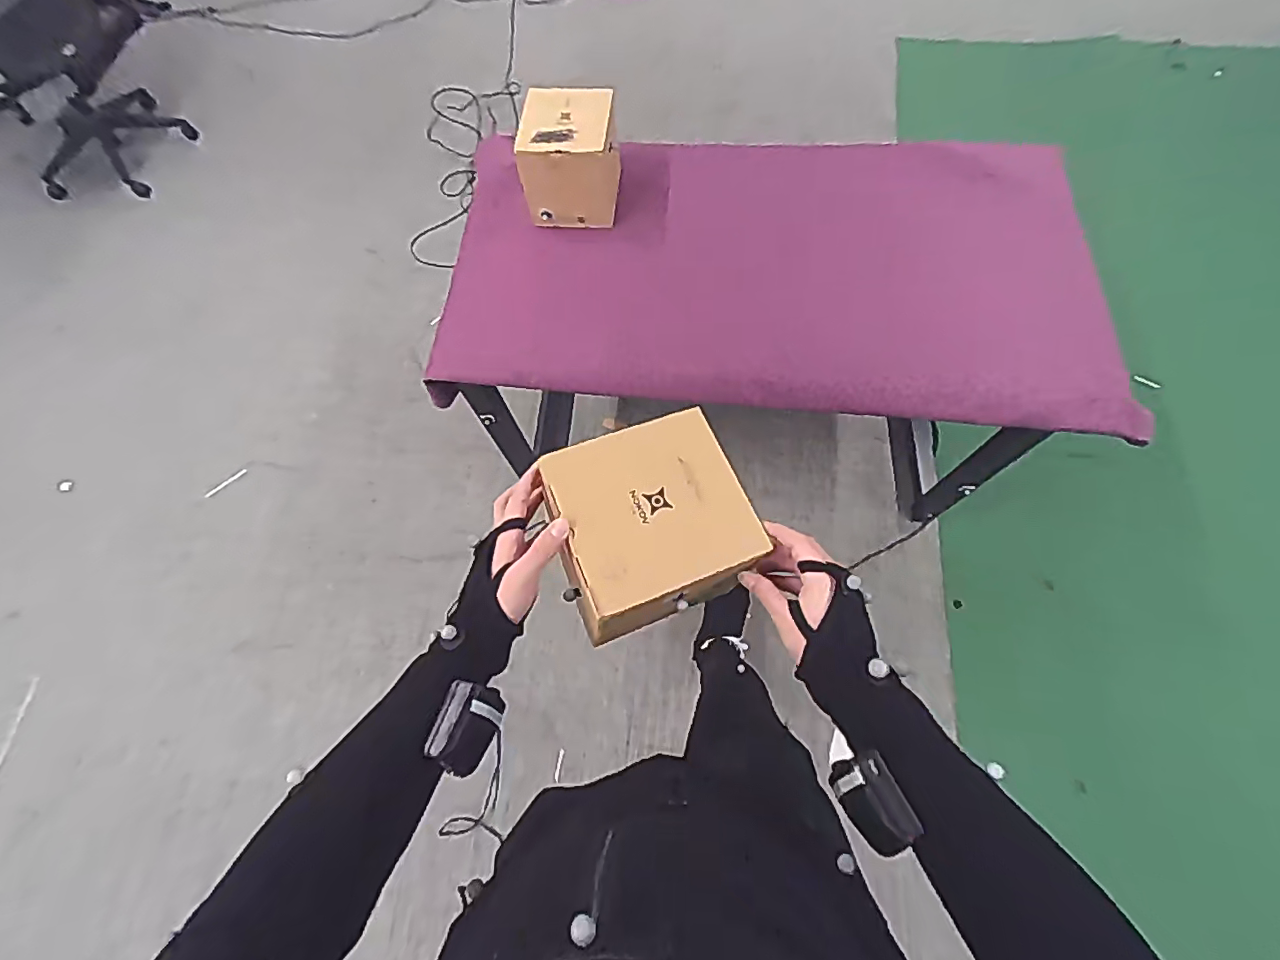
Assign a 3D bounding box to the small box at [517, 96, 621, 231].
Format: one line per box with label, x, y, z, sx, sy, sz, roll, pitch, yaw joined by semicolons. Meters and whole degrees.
small box;-0.130;-0.621;1.072;0.168;0.176;0.179;4;67;5
